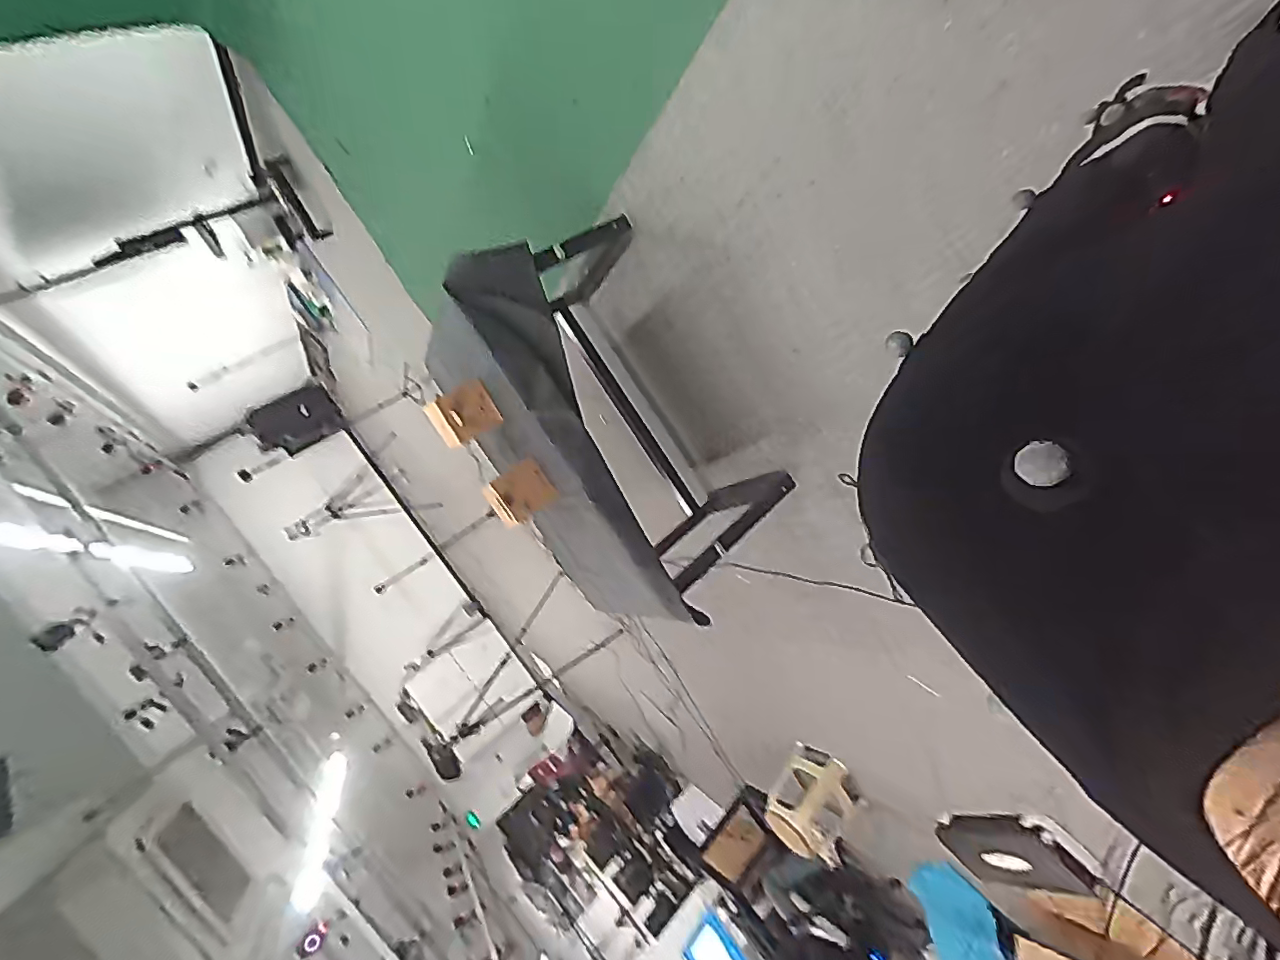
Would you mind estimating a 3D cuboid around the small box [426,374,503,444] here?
[{"bbox_3d":[-0.588,-0.237,1.817,0.179,0.176,0.168,-2,120,57],"label":"small box"}]
